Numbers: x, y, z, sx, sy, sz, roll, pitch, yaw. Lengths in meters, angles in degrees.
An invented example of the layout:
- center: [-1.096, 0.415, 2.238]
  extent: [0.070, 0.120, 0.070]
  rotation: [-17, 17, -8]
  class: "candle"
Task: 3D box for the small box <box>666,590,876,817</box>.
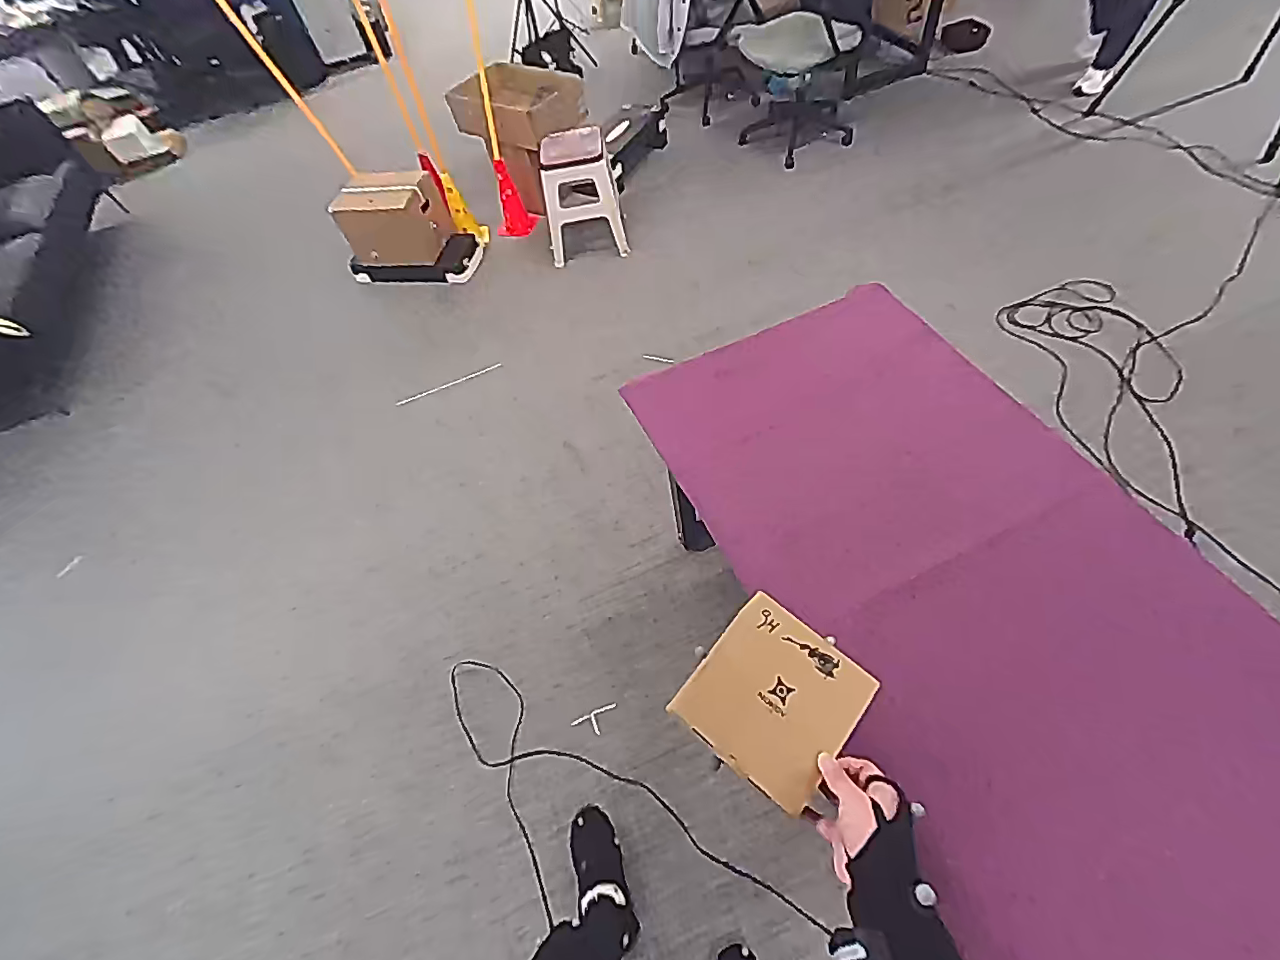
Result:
- center: [0.148, 0.268, 0.667]
  extent: [0.168, 0.176, 0.179]
  rotation: [38, 73, 16]
  class: "small box"
